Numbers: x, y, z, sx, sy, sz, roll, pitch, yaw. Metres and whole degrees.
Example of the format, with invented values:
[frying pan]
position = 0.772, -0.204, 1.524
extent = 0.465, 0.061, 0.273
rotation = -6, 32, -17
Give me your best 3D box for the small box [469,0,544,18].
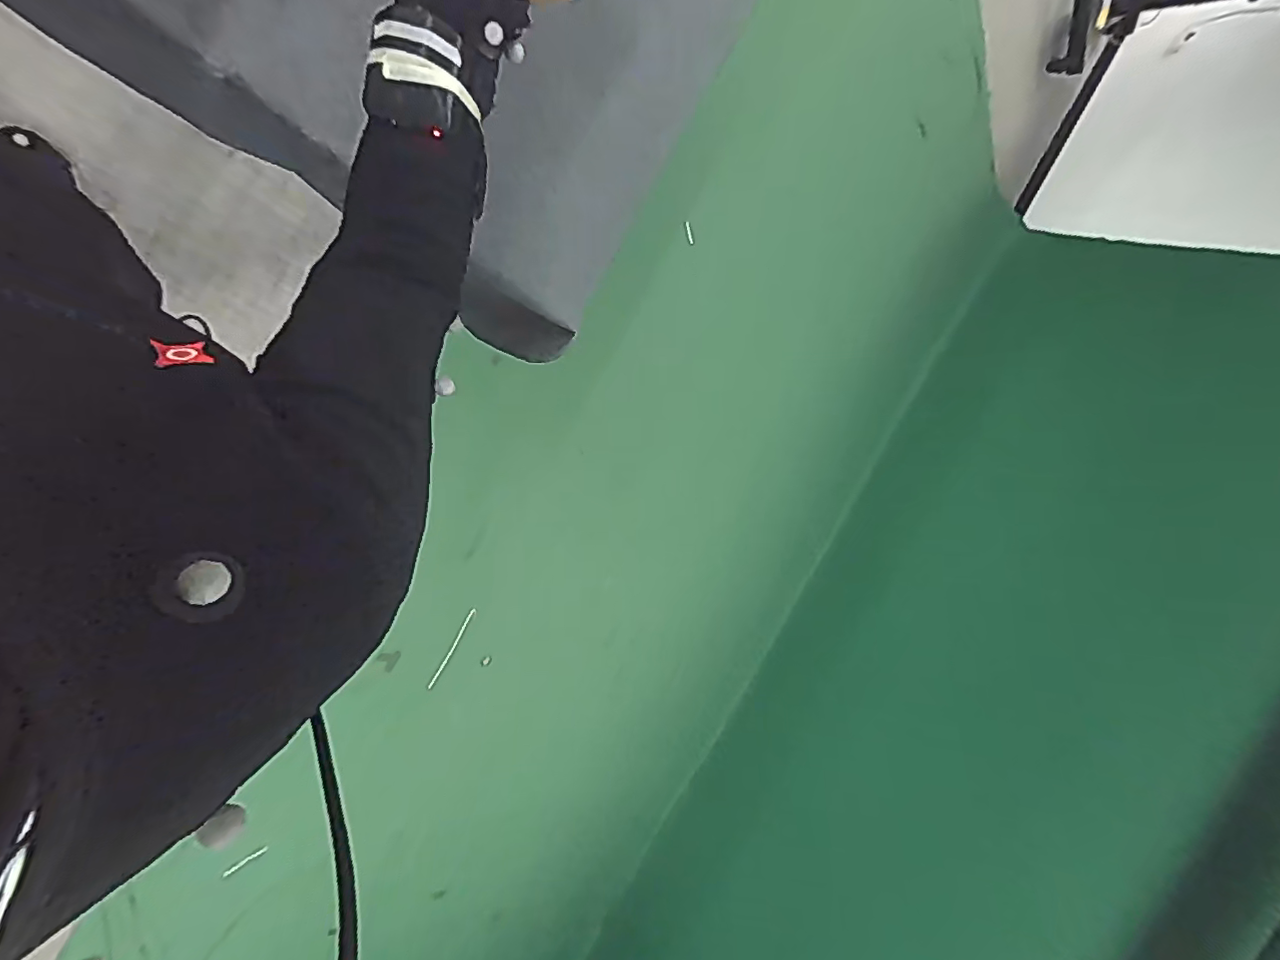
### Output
[small box]
position = -0.108, -0.536, 0.445
extent = 0.168, 0.176, 0.179
rotation = 27, 91, -52
